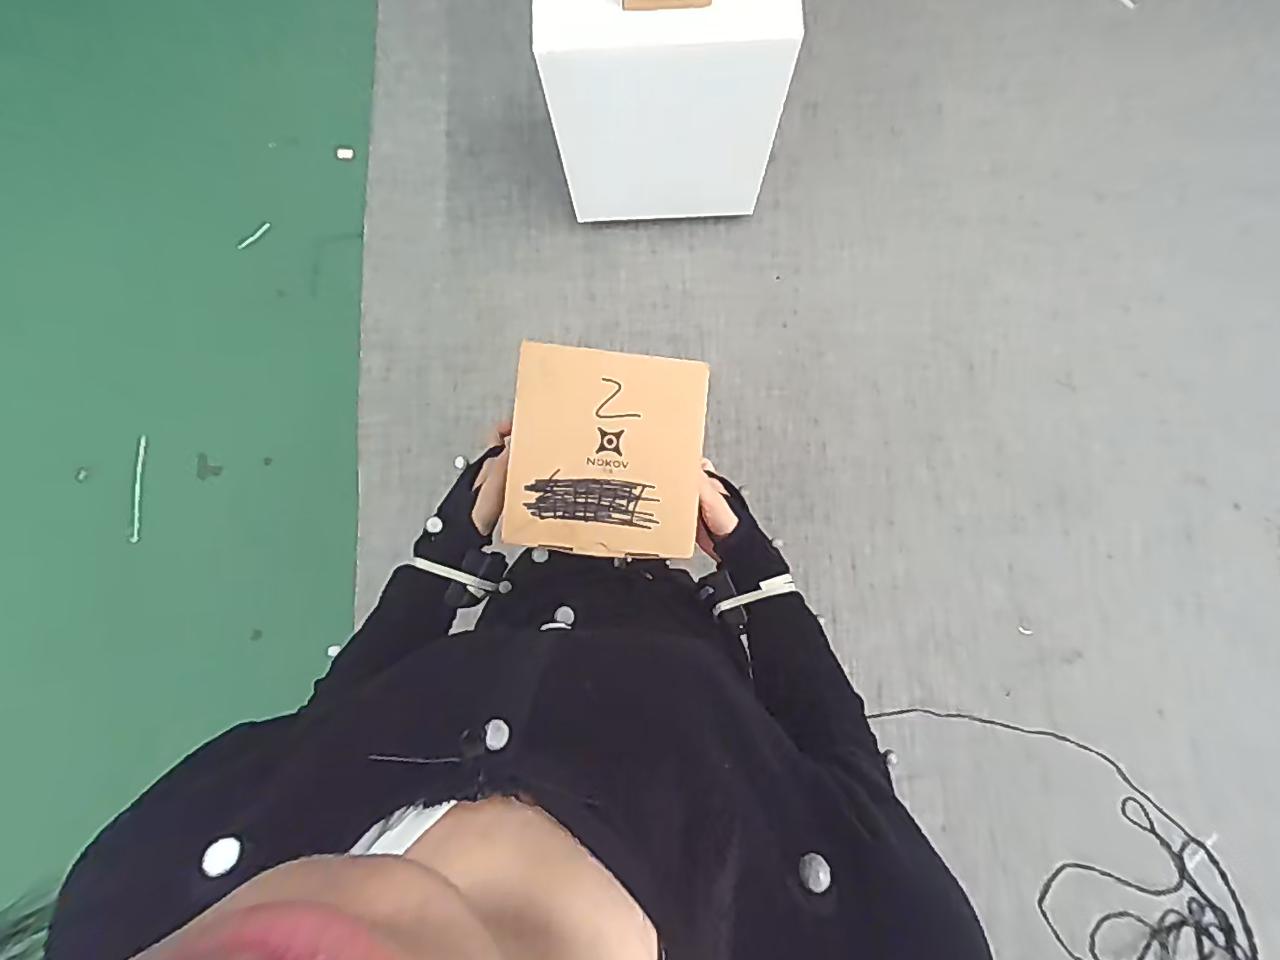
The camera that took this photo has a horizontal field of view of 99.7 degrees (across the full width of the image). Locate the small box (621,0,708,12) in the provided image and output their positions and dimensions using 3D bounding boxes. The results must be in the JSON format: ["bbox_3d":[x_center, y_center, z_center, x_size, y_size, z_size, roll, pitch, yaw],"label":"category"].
[{"bbox_3d":[0.041,-0.969,0.938,0.168,0.176,0.179,-2,83,2],"label":"small box"}]
